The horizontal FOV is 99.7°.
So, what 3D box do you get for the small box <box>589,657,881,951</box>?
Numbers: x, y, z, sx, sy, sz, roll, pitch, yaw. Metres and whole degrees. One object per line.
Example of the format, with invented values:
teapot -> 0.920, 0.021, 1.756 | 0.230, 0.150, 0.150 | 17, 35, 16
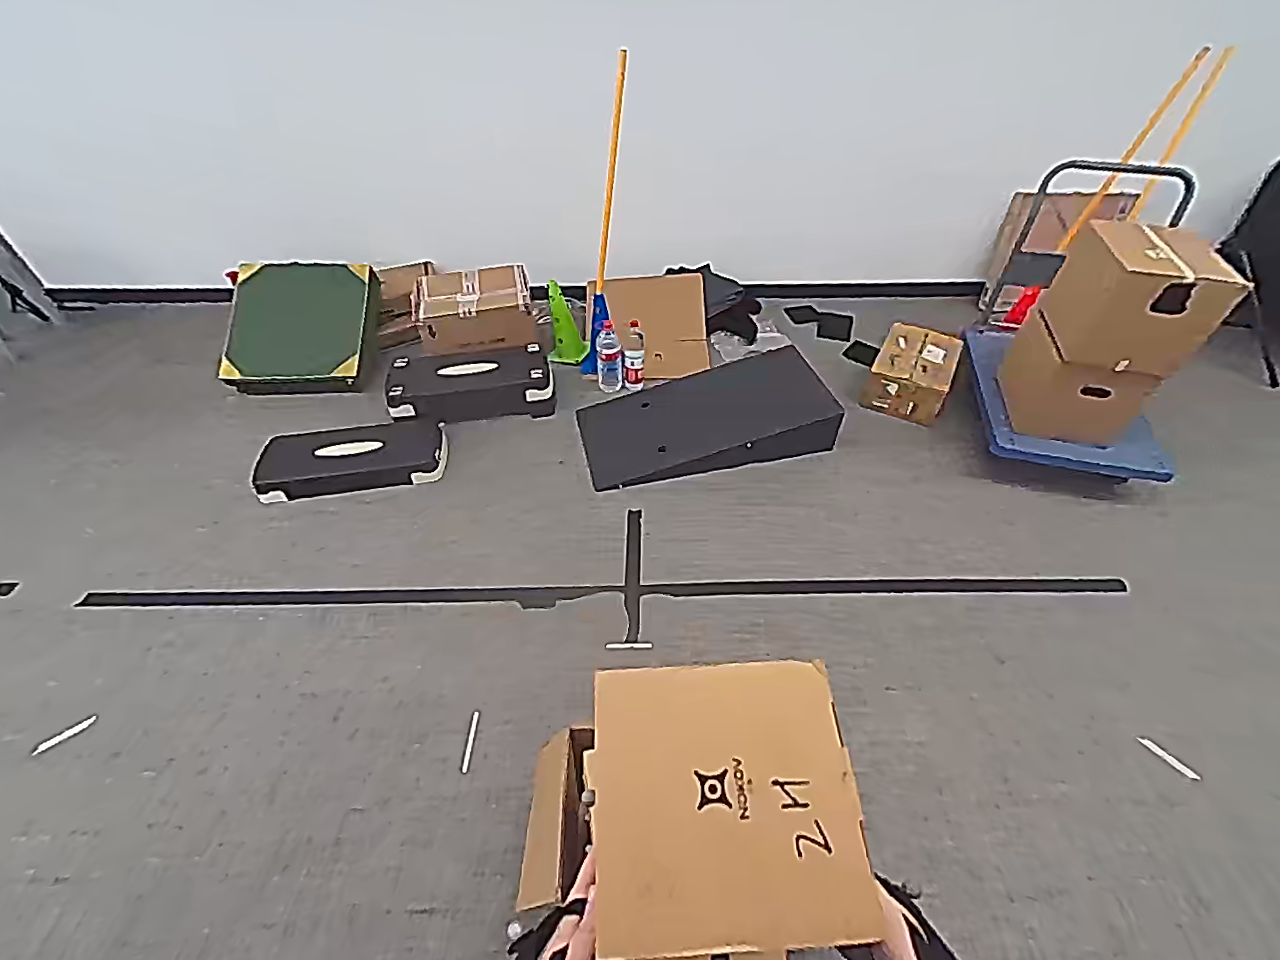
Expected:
small box -> 0.054, 0.249, 0.427 | 0.179, 0.176, 0.168 | -3, 57, -2
